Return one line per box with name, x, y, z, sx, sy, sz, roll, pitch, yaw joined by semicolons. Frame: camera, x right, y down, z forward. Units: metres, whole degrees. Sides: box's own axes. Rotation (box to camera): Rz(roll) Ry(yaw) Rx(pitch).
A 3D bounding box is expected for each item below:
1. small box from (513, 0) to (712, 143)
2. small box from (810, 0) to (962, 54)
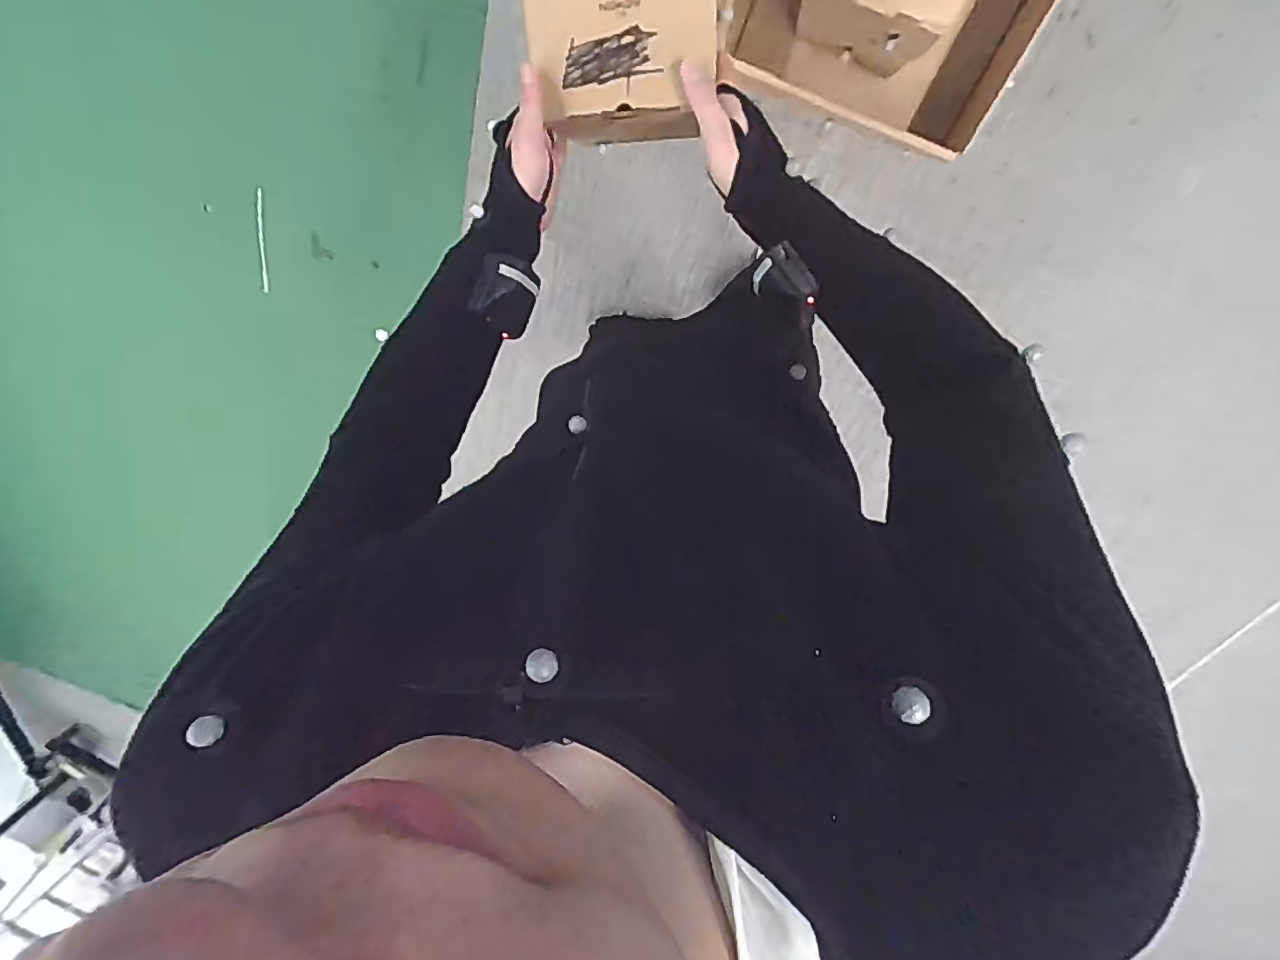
small box;-0.016;-0.439;0.523;0.168;0.176;0.179;1;113;9
small box;0.297;-0.610;0.593;0.168;0.176;0.179;24;121;0
